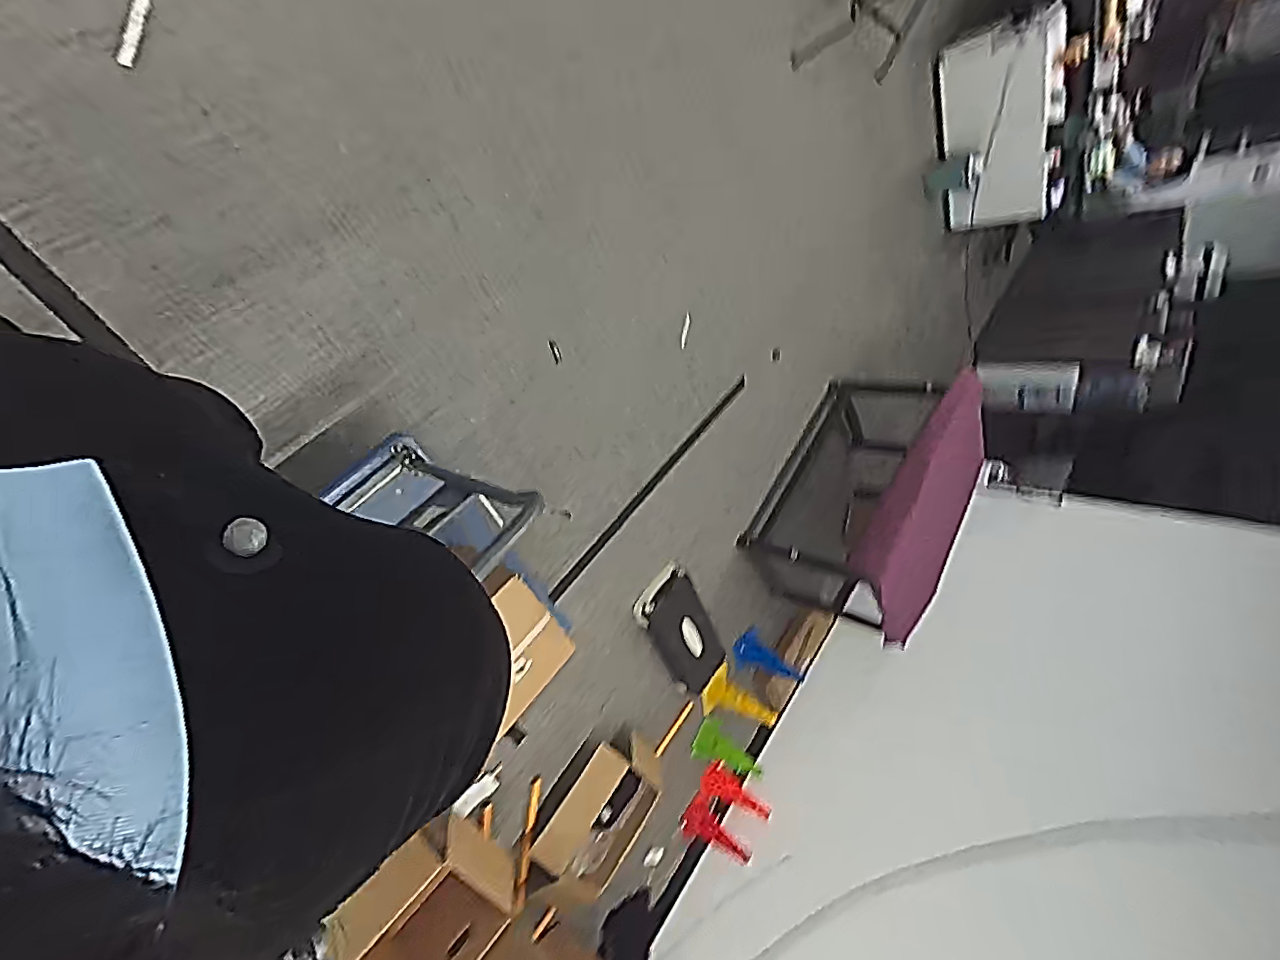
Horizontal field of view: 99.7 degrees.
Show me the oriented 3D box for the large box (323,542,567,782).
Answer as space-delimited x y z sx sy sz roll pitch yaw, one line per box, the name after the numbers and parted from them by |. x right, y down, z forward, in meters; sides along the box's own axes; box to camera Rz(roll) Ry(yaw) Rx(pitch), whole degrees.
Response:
-0.467 0.423 1.328 0.408 0.320 0.320 -47 130 -28 | large box
